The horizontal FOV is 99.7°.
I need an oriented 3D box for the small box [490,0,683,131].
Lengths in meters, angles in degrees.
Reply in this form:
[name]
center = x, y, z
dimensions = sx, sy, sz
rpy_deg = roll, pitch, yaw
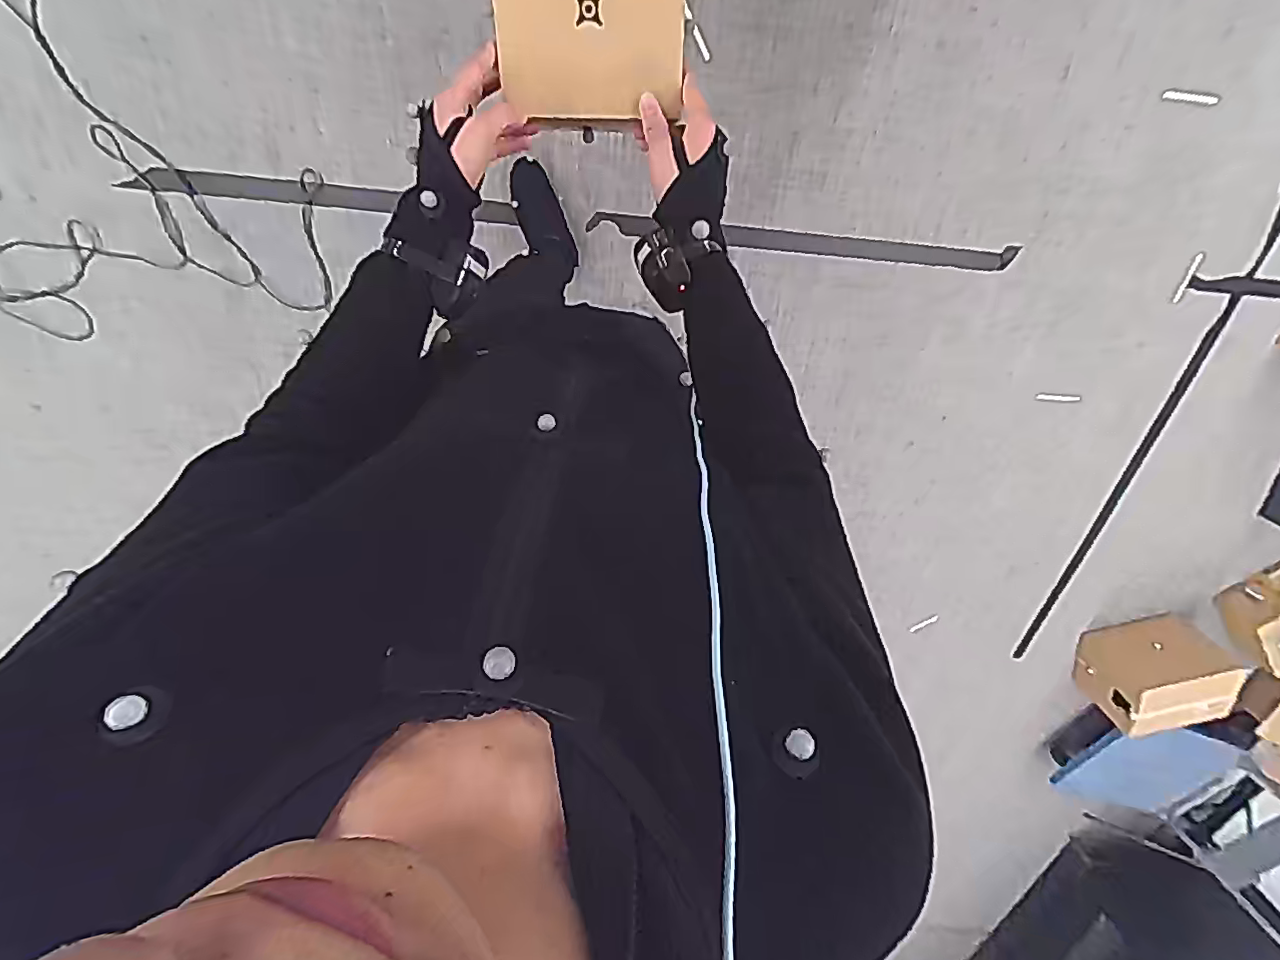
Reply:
[small box]
center = -0.049, -0.445, 0.521
dimensions = 0.168, 0.176, 0.179
rpy_deg = -1, 119, -4
